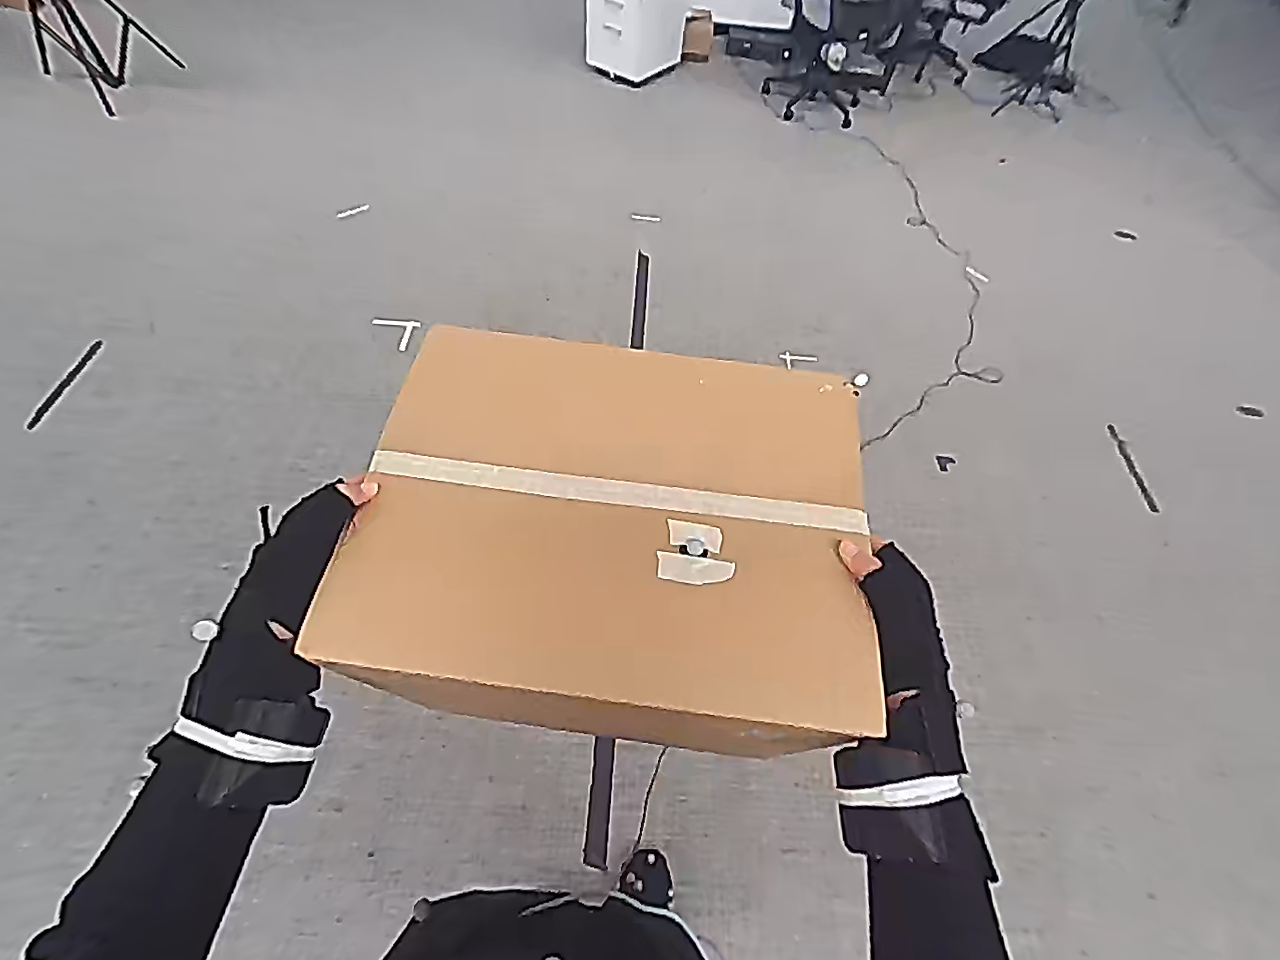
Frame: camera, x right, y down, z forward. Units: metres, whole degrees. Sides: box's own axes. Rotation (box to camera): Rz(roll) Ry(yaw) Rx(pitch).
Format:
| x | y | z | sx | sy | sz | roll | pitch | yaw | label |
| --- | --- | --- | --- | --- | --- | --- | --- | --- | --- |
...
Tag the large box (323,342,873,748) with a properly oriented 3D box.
| x | y | z | sx | sy | sz | roll | pitch | yaw | label |
| --- | --- | --- | --- | --- | --- | --- | --- | --- | --- |
| -0.024 | 0.090 | 0.583 | 0.408 | 0.320 | 0.320 | 7 | 61 | 1 | large box |
